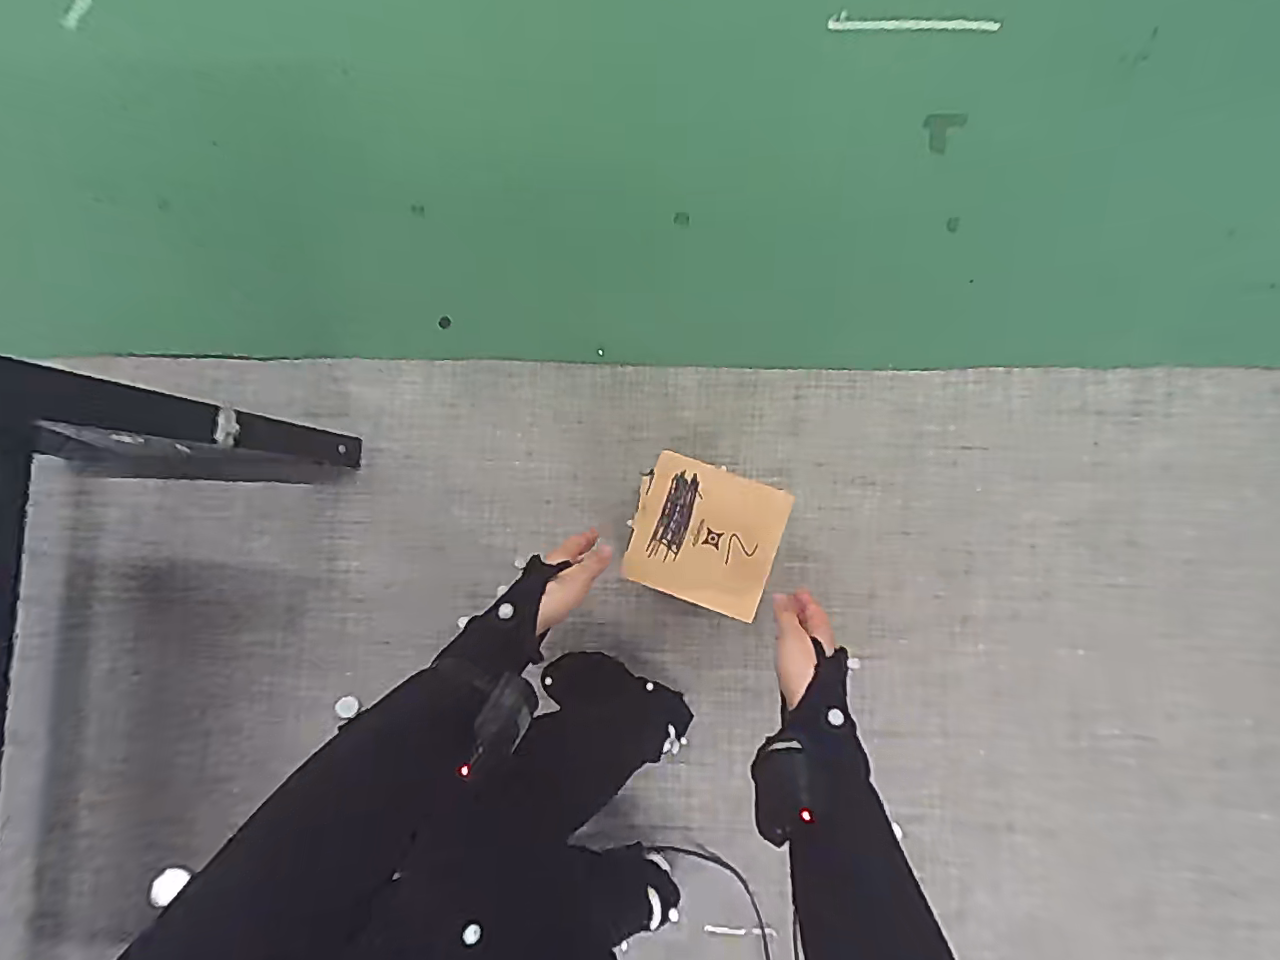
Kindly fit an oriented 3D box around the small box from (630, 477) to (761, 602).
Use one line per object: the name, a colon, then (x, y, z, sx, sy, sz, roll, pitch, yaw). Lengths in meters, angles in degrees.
small box: (0.085, 0.092, 0.894, 0.179, 0.176, 0.168, 10, 87, 2)
